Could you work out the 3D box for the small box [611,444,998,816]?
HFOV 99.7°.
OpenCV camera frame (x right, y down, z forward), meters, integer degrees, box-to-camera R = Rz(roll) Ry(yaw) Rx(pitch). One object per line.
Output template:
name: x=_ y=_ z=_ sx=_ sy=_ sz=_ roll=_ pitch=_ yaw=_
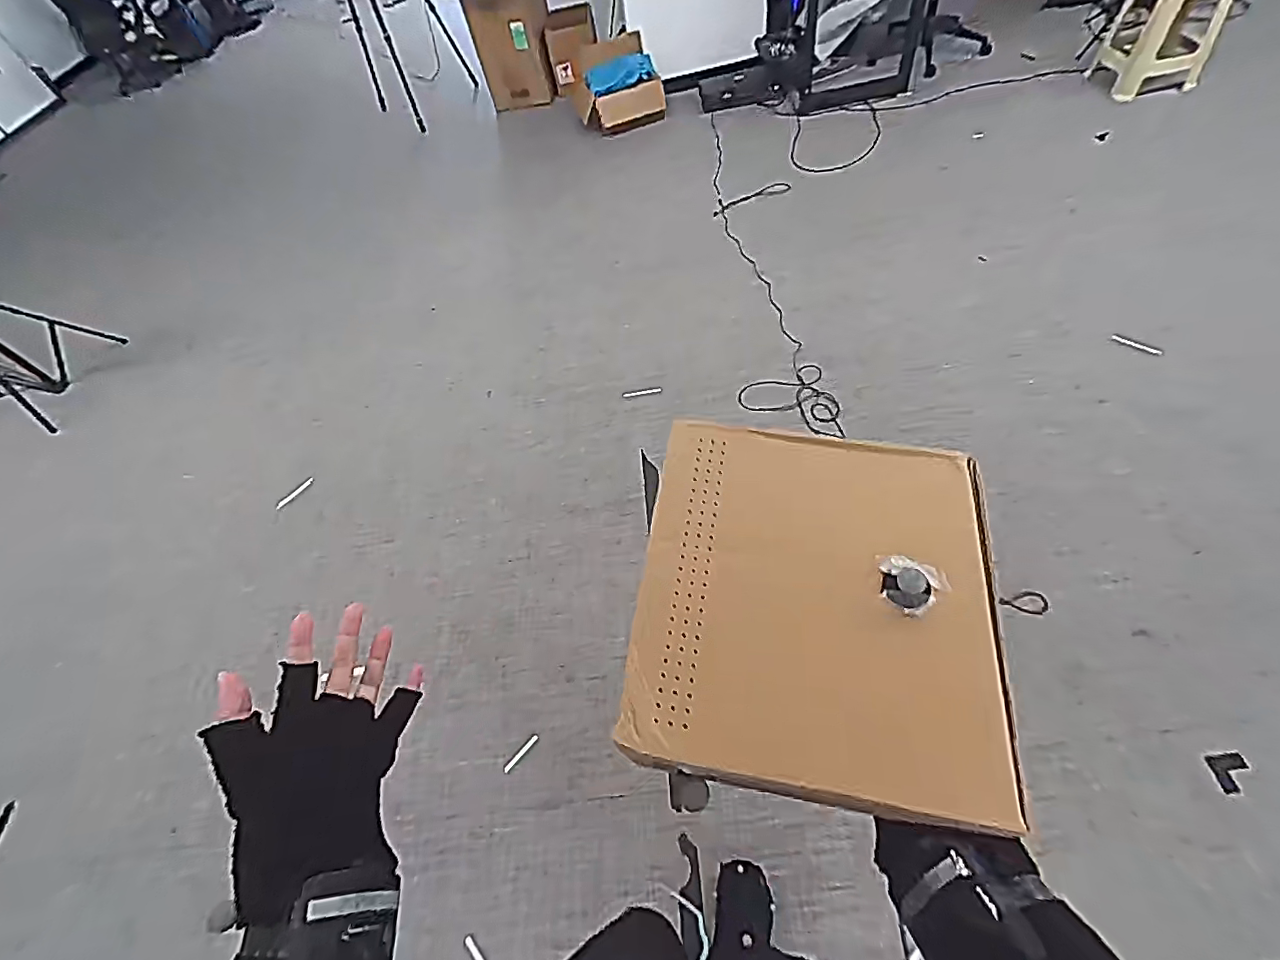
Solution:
small box: x=0.084 y=0.093 z=0.339 sx=0.176 sy=0.168 sz=0.179 roll=7 pitch=60 yaw=10
